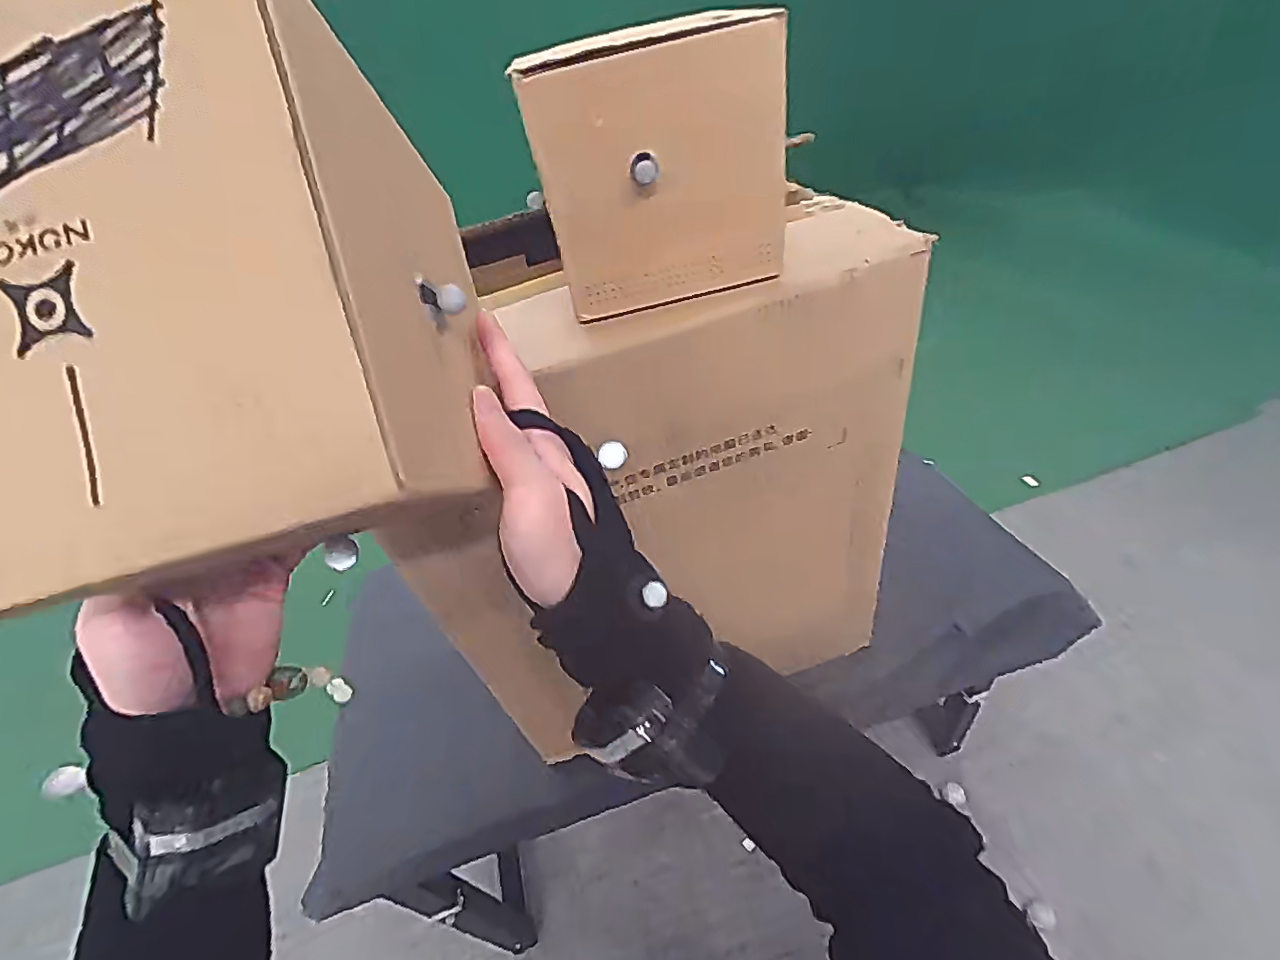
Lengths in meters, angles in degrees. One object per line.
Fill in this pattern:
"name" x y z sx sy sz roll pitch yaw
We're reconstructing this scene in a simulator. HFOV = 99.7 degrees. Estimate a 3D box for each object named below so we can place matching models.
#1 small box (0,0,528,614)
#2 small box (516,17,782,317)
"small box" -0.162 -0.057 0.241 0.168 0.179 0.176 -14 1 1
"small box" 0.008 -0.256 0.450 0.179 0.176 0.168 -15 42 -1
